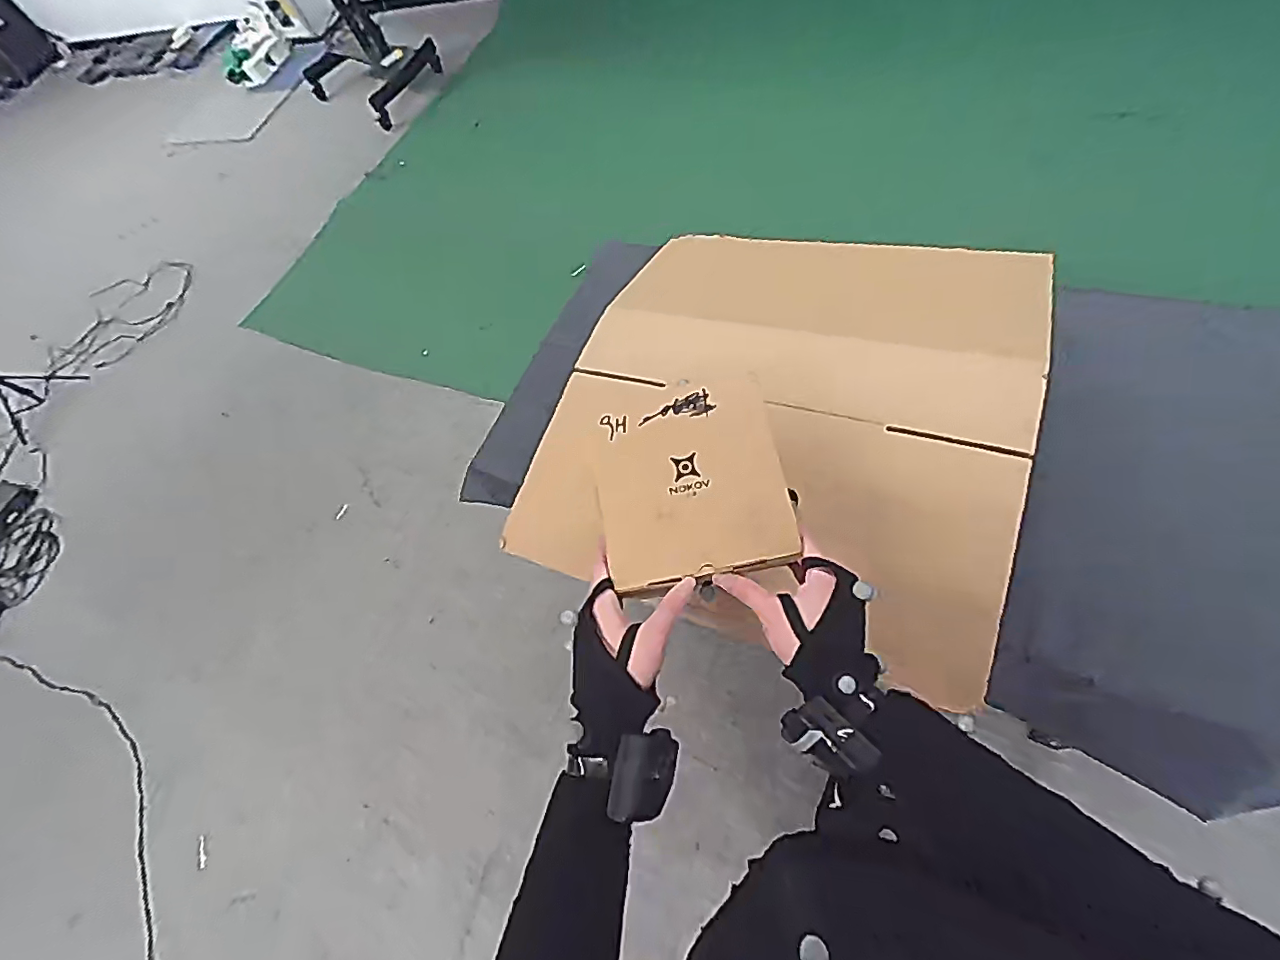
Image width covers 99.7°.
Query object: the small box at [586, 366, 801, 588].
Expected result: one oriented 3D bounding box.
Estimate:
[{"bbox_3d":[0.053,0.012,0.564,0.168,0.176,0.179,-14,74,3],"label":"small box"}]
